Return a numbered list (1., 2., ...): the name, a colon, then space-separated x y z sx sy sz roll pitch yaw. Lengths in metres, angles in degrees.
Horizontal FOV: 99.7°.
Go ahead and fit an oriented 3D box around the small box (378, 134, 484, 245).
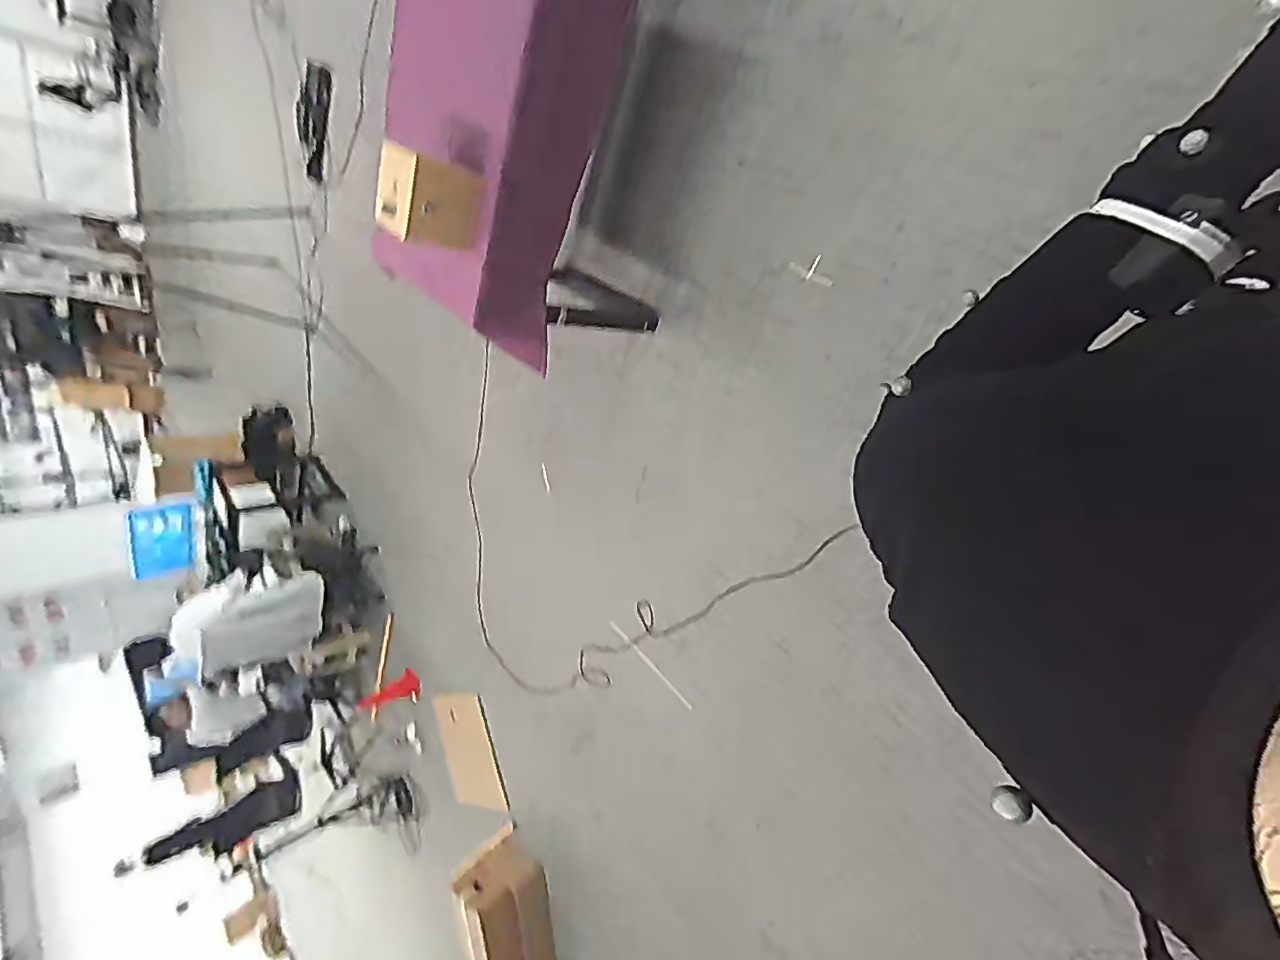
1. small box: -0.493 -0.679 1.280 0.168 0.176 0.179 39 121 30
